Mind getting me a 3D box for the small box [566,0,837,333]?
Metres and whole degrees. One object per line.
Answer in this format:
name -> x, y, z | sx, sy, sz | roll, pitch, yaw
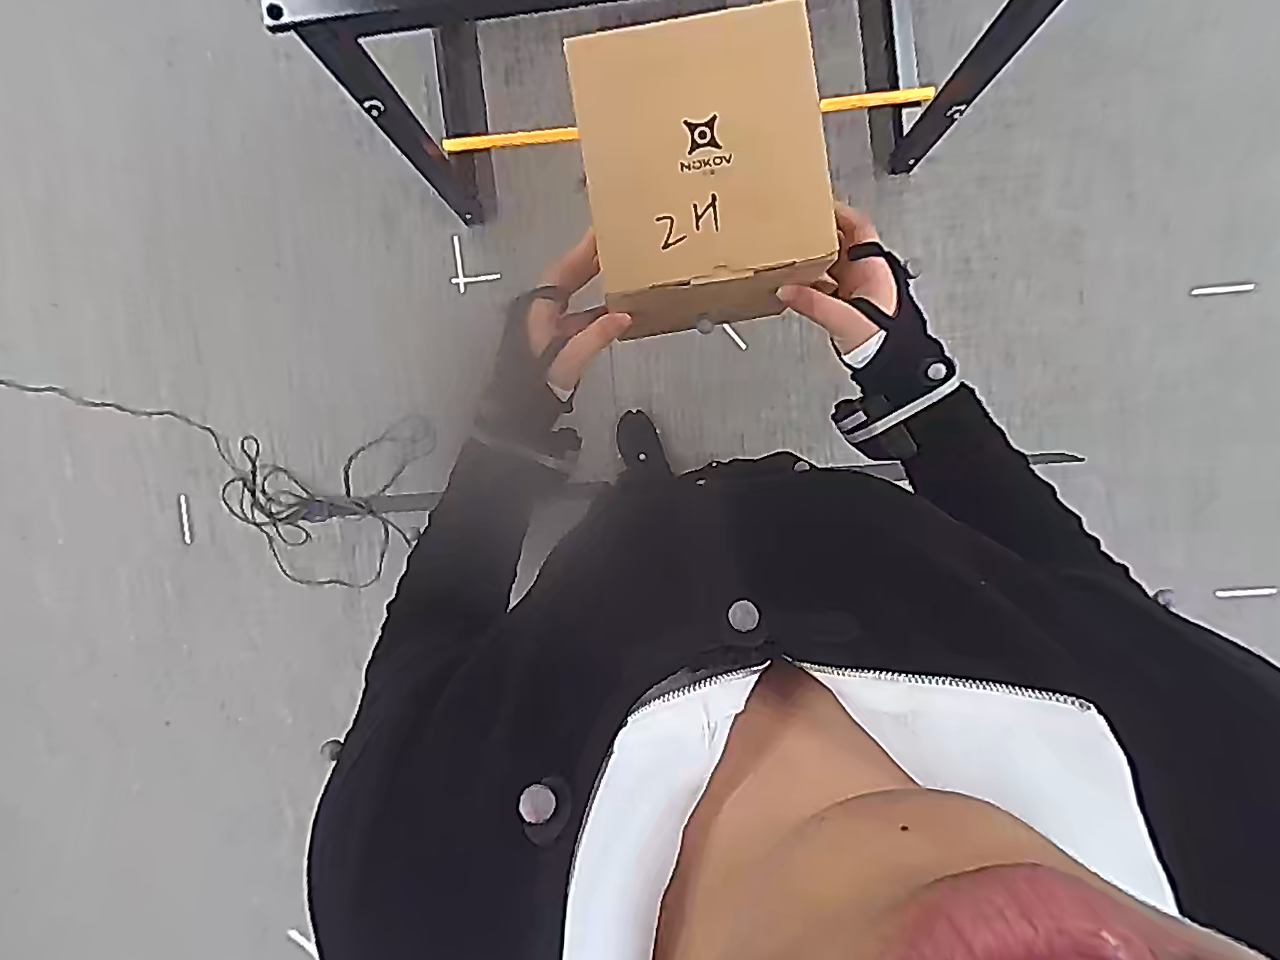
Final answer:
small box -> 0.042, -0.235, 0.442 | 0.168, 0.176, 0.179 | -9, 93, 2
